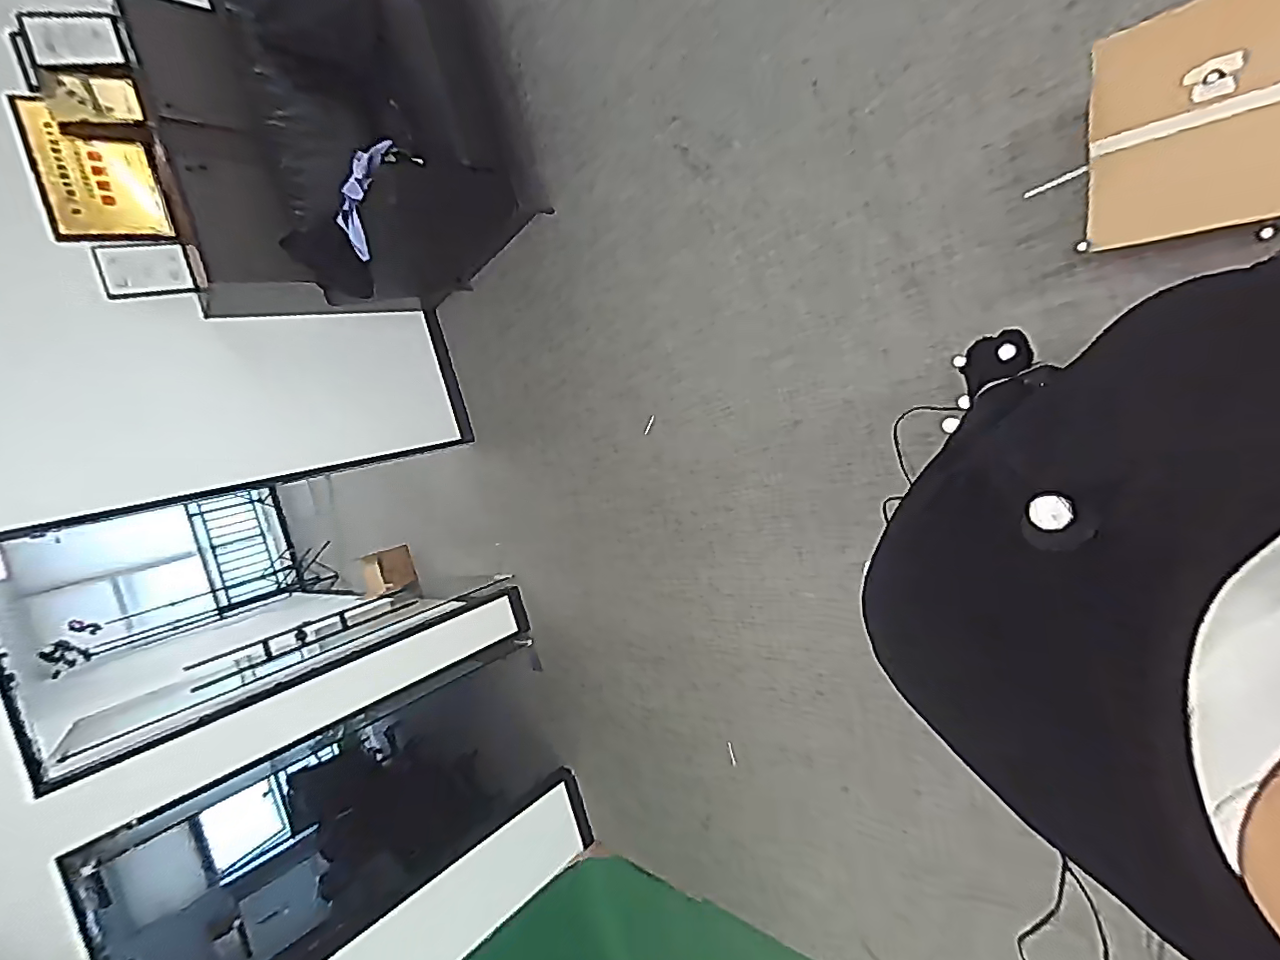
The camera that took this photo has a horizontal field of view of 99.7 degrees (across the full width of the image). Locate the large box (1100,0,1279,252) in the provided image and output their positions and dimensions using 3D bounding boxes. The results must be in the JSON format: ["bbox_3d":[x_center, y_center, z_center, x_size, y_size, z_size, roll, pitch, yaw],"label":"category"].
[{"bbox_3d":[0.994,-0.560,0.826,0.408,0.320,0.320,5,107,48],"label":"large box"}]
